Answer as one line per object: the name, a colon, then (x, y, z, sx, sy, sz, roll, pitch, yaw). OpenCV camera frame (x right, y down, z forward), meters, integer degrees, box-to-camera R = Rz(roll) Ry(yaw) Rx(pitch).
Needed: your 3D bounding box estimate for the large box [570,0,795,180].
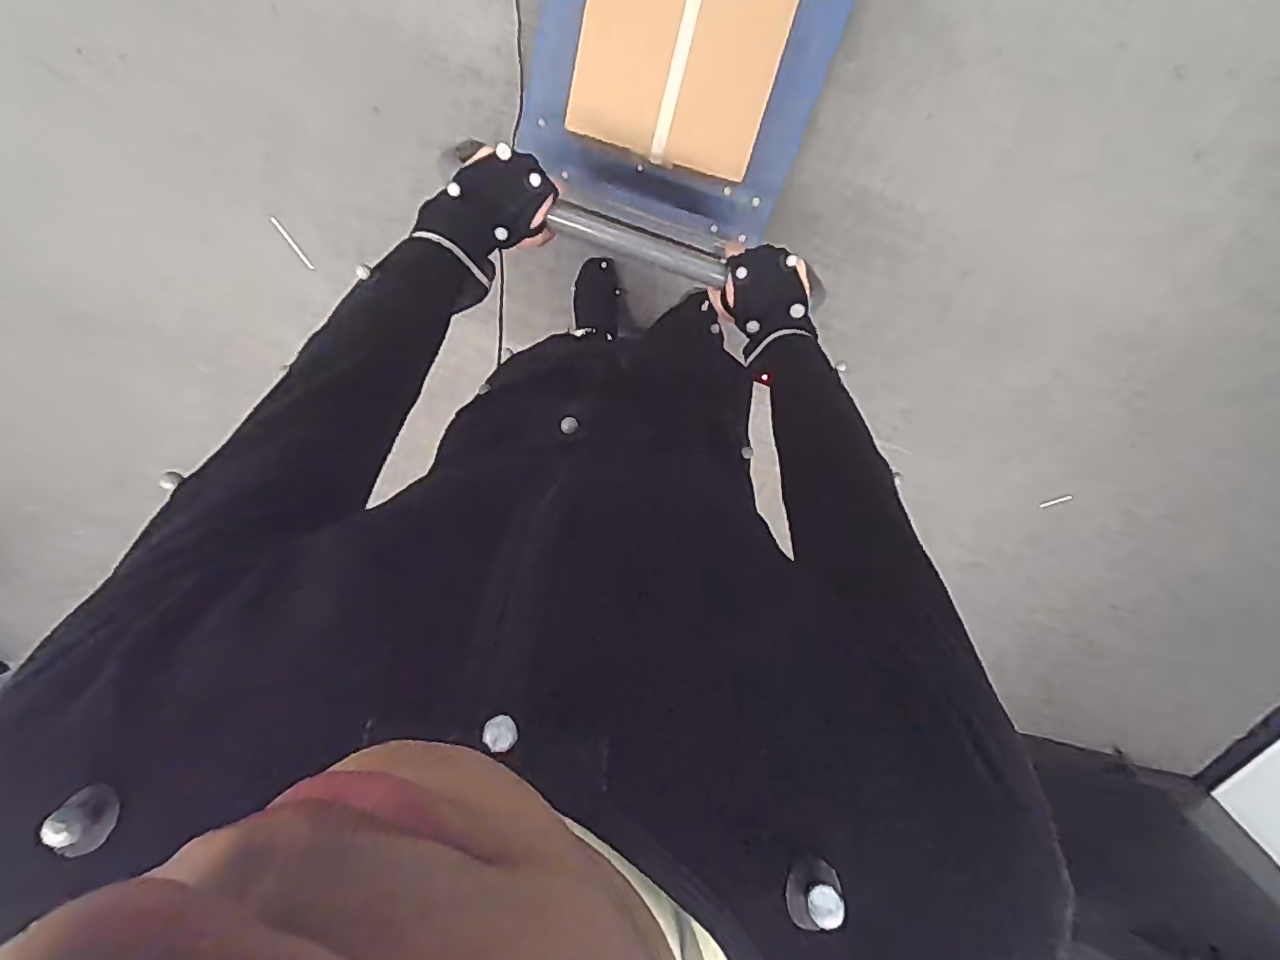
large box: (0.077, -0.792, 0.956, 0.320, 0.320, 0.408, 13, 117, -7)
